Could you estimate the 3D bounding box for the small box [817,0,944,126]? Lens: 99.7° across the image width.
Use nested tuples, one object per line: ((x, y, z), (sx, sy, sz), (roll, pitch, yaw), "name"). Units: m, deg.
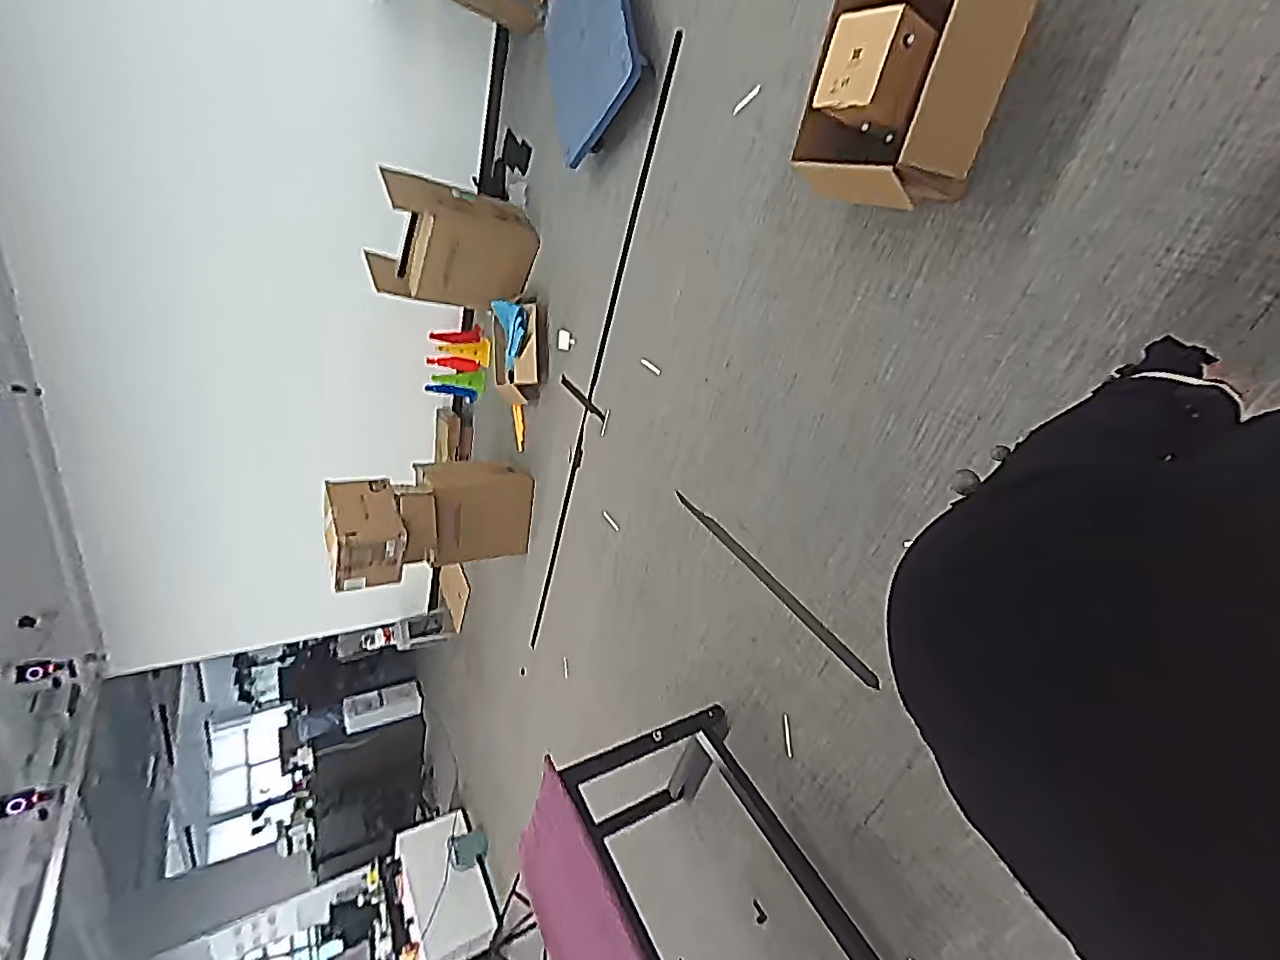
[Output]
((0.537, -0.917, 1.201), (0.168, 0.176, 0.179), (43, 127, 45), "small box")
